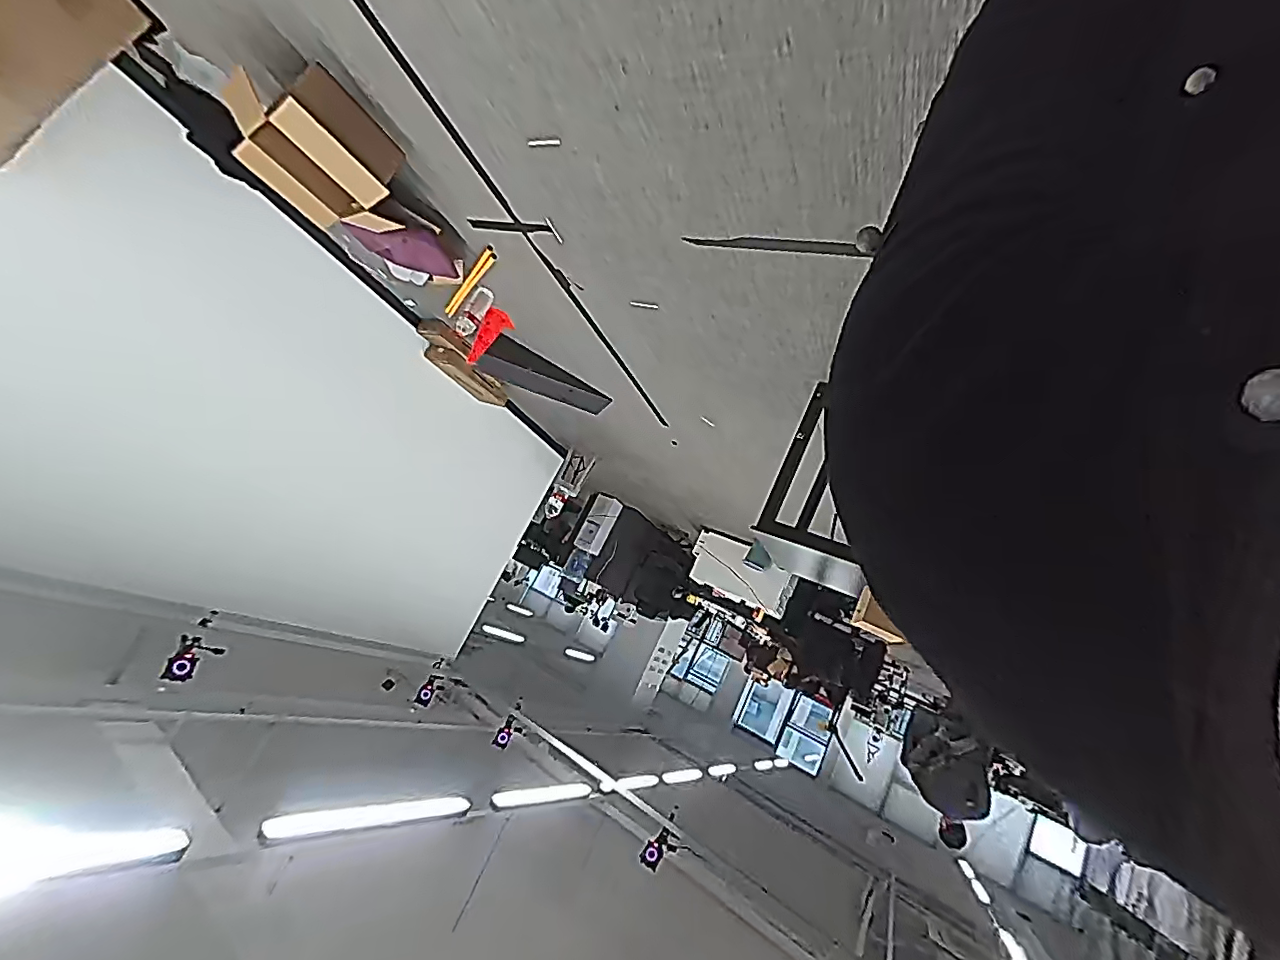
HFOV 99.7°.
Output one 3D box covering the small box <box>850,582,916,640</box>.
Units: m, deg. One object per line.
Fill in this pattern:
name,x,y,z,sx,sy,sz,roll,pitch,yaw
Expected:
small box,0.947,0.506,2.103,0.168,0.176,0.179,24,167,14
